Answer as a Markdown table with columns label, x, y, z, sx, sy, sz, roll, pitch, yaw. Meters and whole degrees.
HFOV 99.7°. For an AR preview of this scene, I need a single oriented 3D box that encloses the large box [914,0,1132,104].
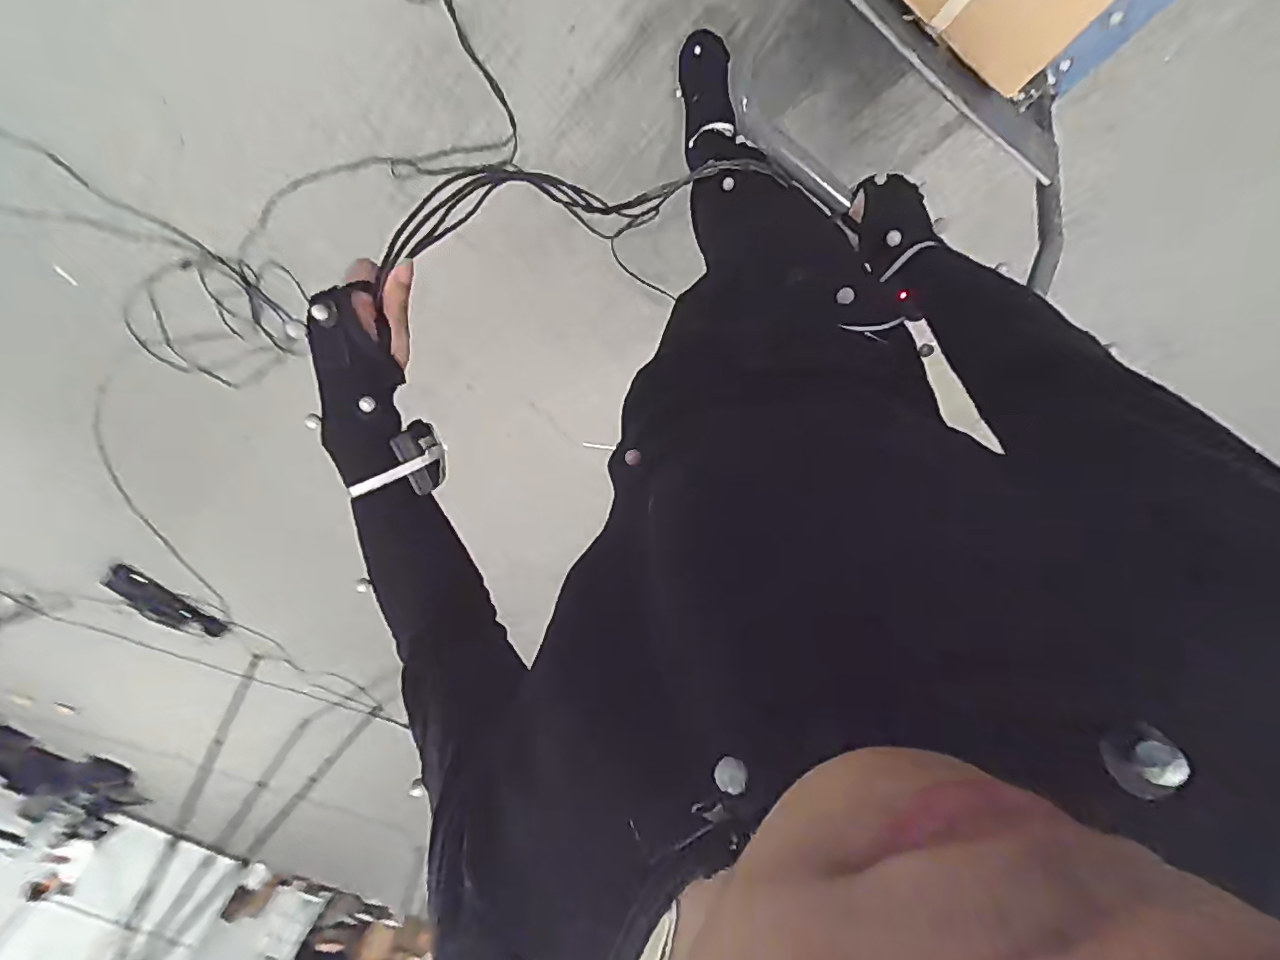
| label | x | y | z | sx | sy | sz | roll | pitch | yaw |
| --- | --- | --- | --- | --- | --- | --- | --- | --- | --- |
| large box | 0.575 | -0.820 | 0.695 | 0.320 | 0.320 | 0.408 | 34 | 144 | -14 |
